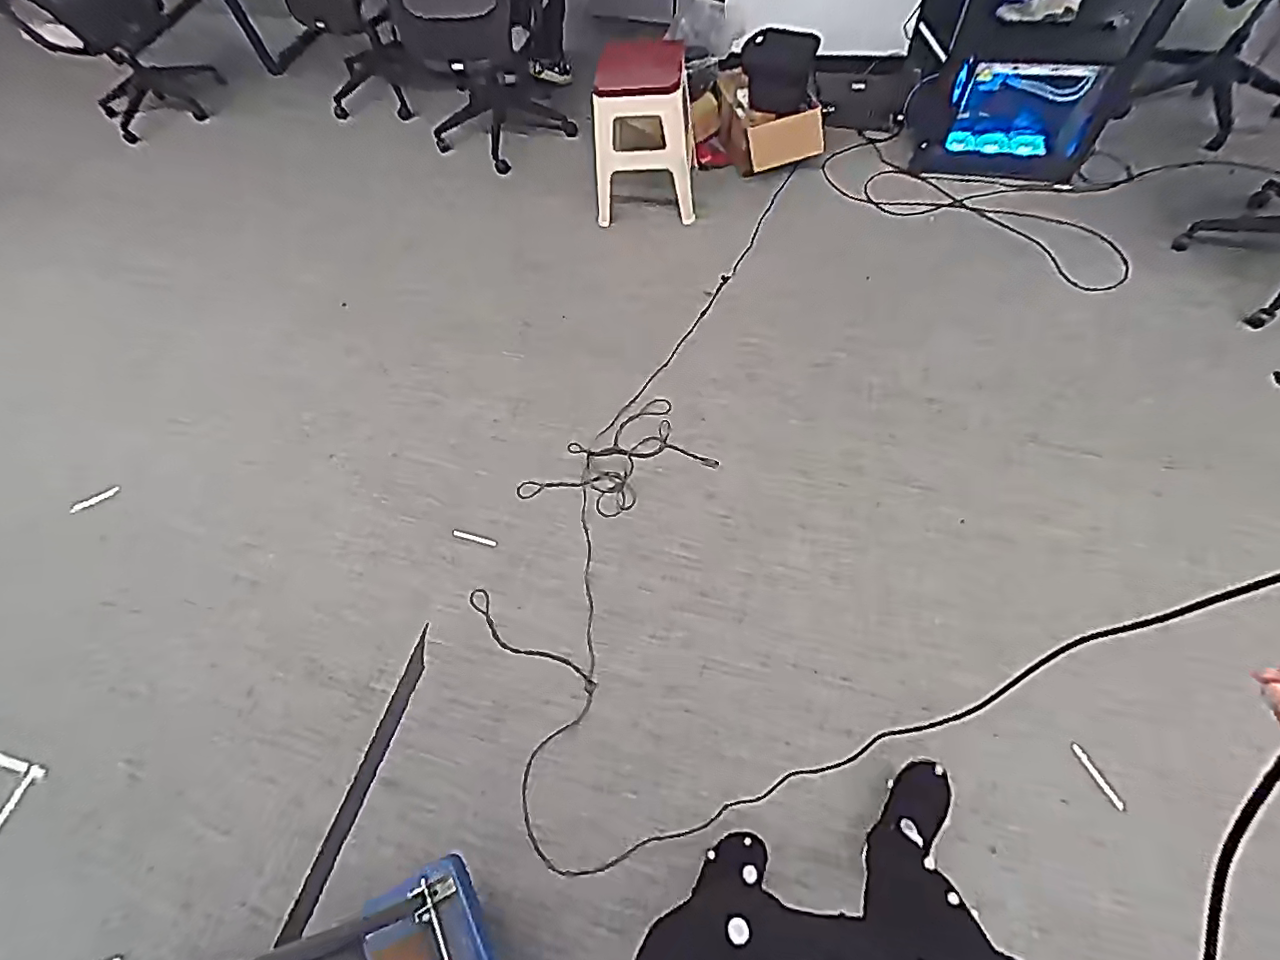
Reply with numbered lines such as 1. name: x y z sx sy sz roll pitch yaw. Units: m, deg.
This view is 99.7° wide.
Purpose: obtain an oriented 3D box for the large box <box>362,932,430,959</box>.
1. large box: -0.456 0.996 0.777 0.320 0.320 0.408 -29 62 -10
